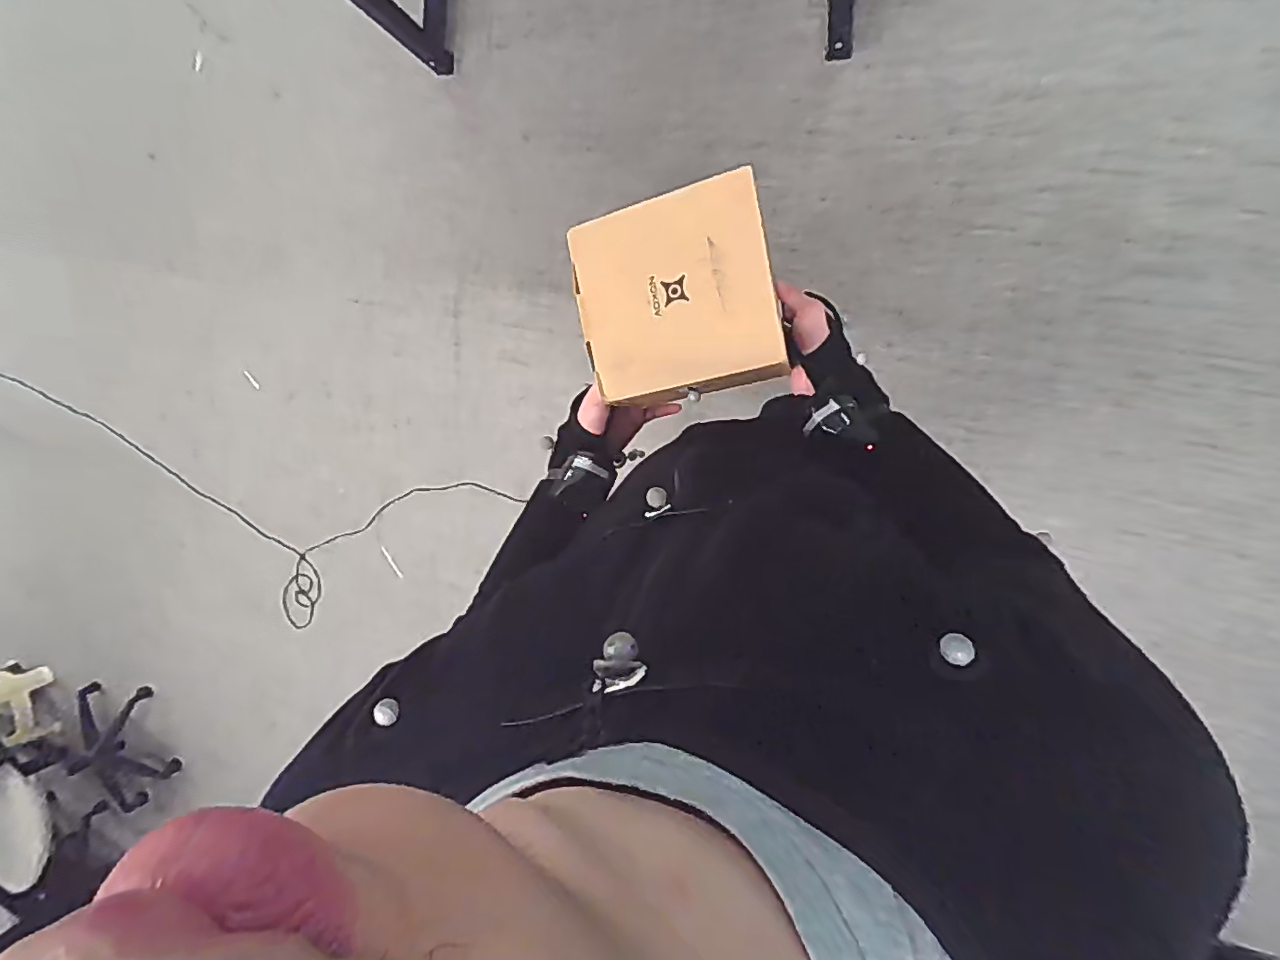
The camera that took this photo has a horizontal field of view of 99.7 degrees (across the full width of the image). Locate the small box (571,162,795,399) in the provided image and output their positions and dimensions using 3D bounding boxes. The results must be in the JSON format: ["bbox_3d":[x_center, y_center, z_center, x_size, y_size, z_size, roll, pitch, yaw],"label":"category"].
[{"bbox_3d":[0.055,-0.180,0.553,0.179,0.176,0.168,-11,95,18],"label":"small box"}]
